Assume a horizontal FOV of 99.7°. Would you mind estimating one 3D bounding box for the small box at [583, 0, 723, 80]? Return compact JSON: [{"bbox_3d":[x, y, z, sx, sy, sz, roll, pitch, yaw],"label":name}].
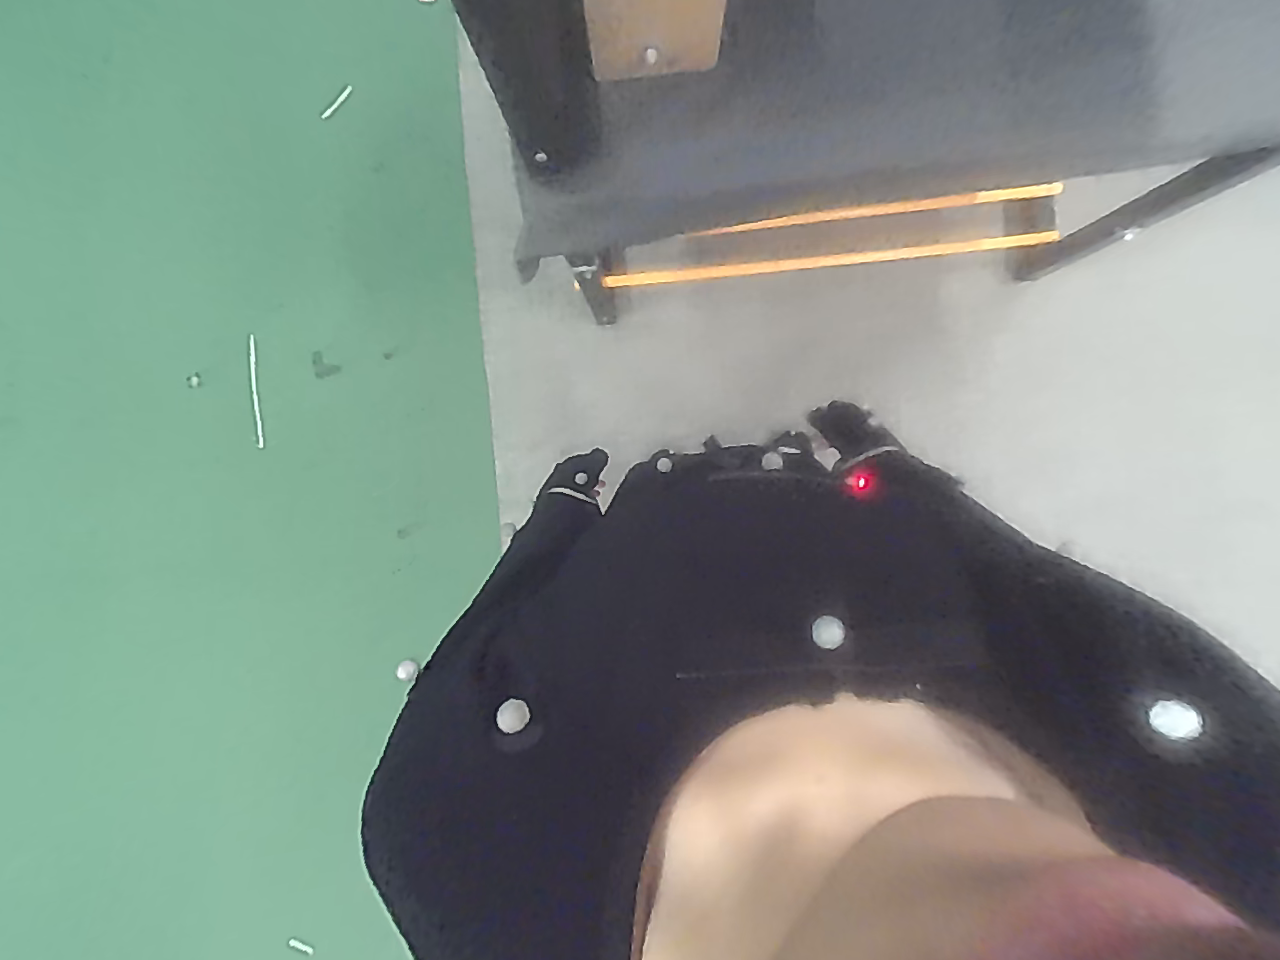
[{"bbox_3d":[0.009,-0.635,0.653,0.168,0.176,0.179,-5,92,2],"label":"small box"}]
